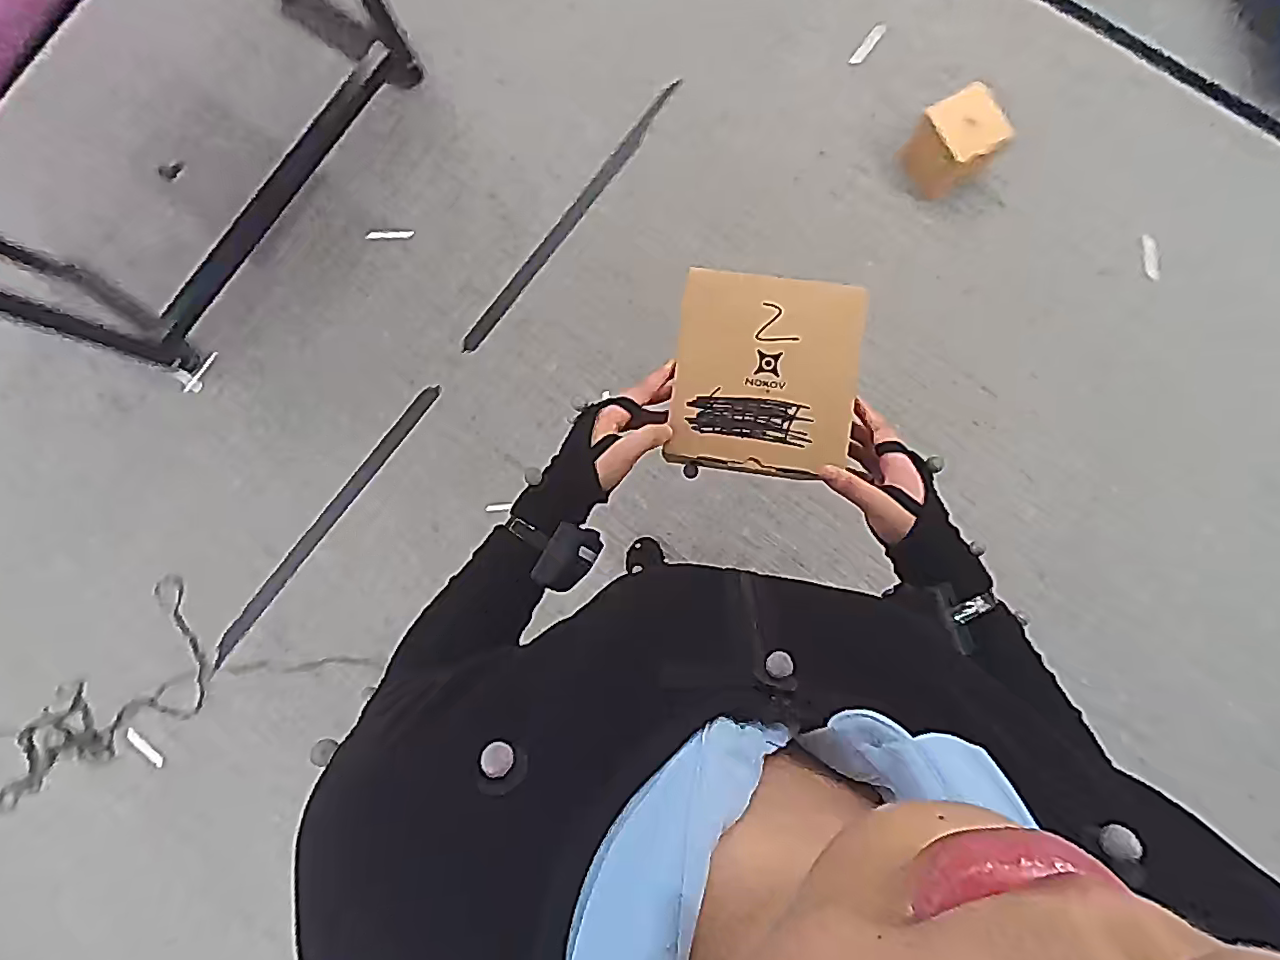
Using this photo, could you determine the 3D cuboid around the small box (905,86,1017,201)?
[{"bbox_3d":[0.874,-0.921,1.493,0.168,0.176,0.179,-28,84,0],"label":"small box"}]
